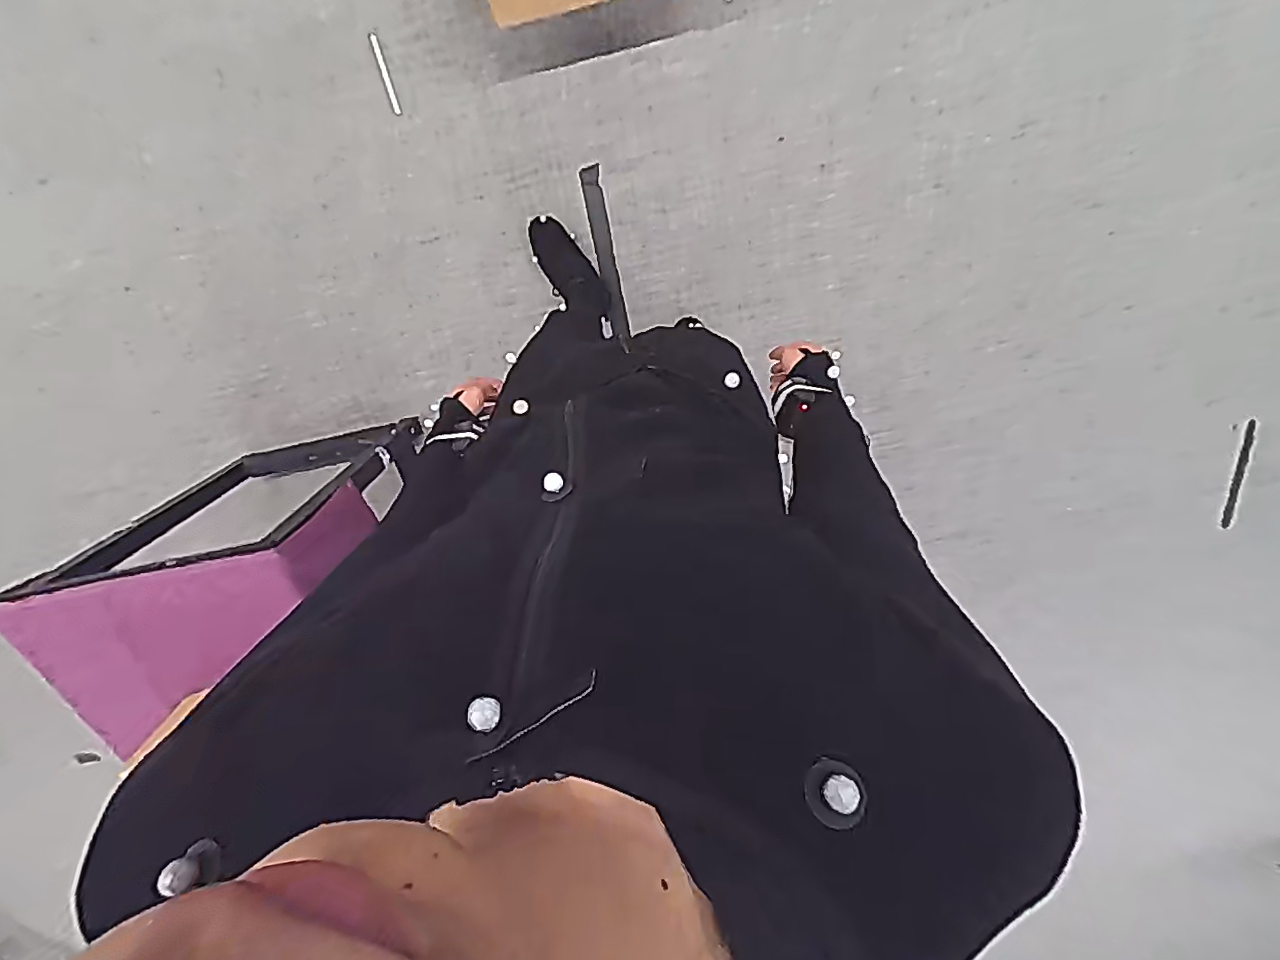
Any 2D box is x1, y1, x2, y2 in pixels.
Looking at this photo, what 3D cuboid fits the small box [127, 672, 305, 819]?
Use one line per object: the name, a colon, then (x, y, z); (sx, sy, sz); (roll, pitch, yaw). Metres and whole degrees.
small box: (-0.809, 0.512, 1.055); (0.179, 0.176, 0.168); (-23, 114, 10)
